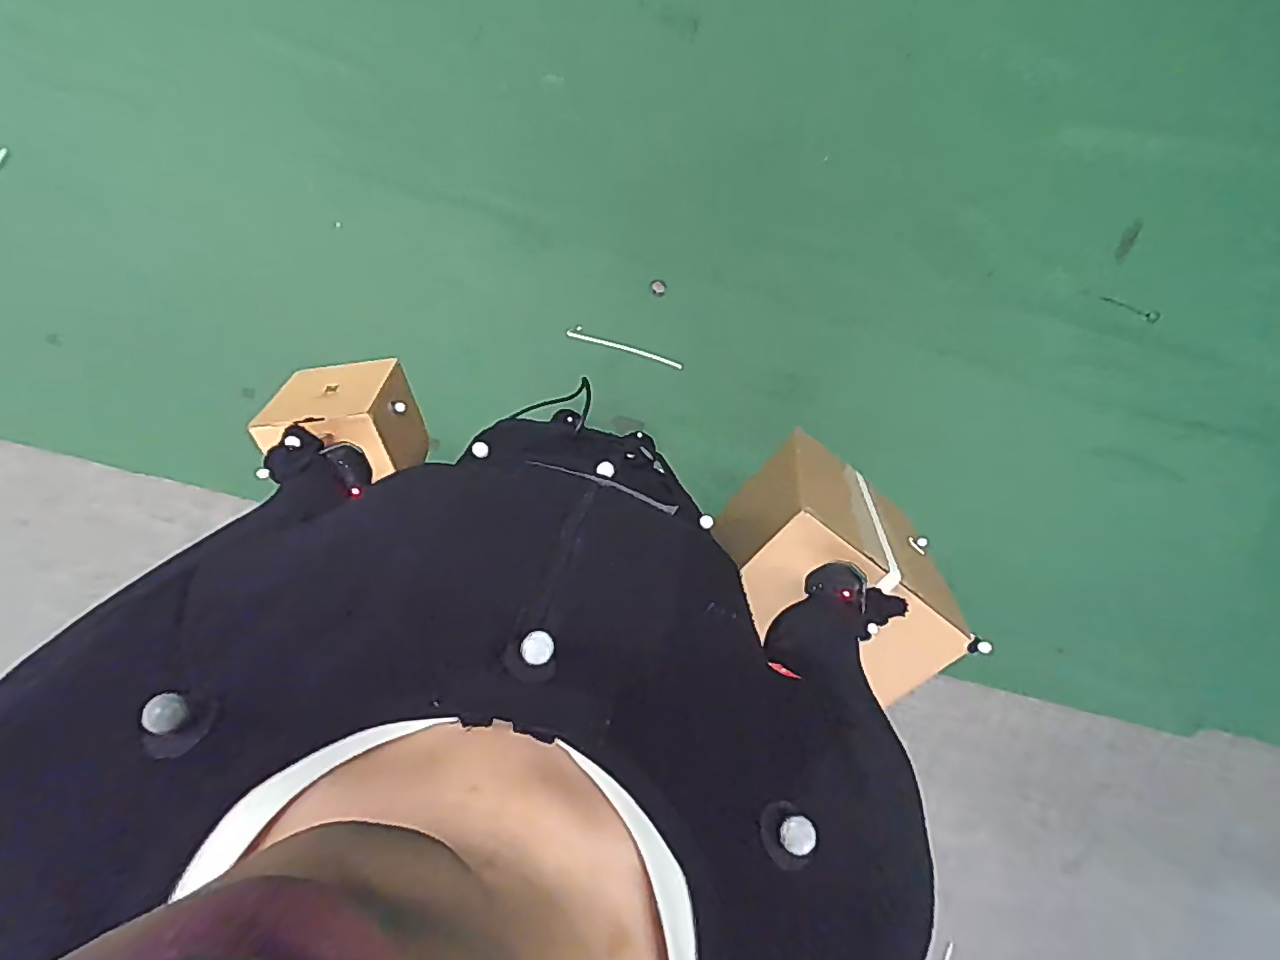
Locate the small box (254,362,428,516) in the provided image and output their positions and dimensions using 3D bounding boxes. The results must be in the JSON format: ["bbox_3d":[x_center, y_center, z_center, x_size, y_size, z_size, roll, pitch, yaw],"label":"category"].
[{"bbox_3d":[-0.455,-0.067,0.862,0.168,0.179,0.176,-8,129,-2],"label":"small box"}]
